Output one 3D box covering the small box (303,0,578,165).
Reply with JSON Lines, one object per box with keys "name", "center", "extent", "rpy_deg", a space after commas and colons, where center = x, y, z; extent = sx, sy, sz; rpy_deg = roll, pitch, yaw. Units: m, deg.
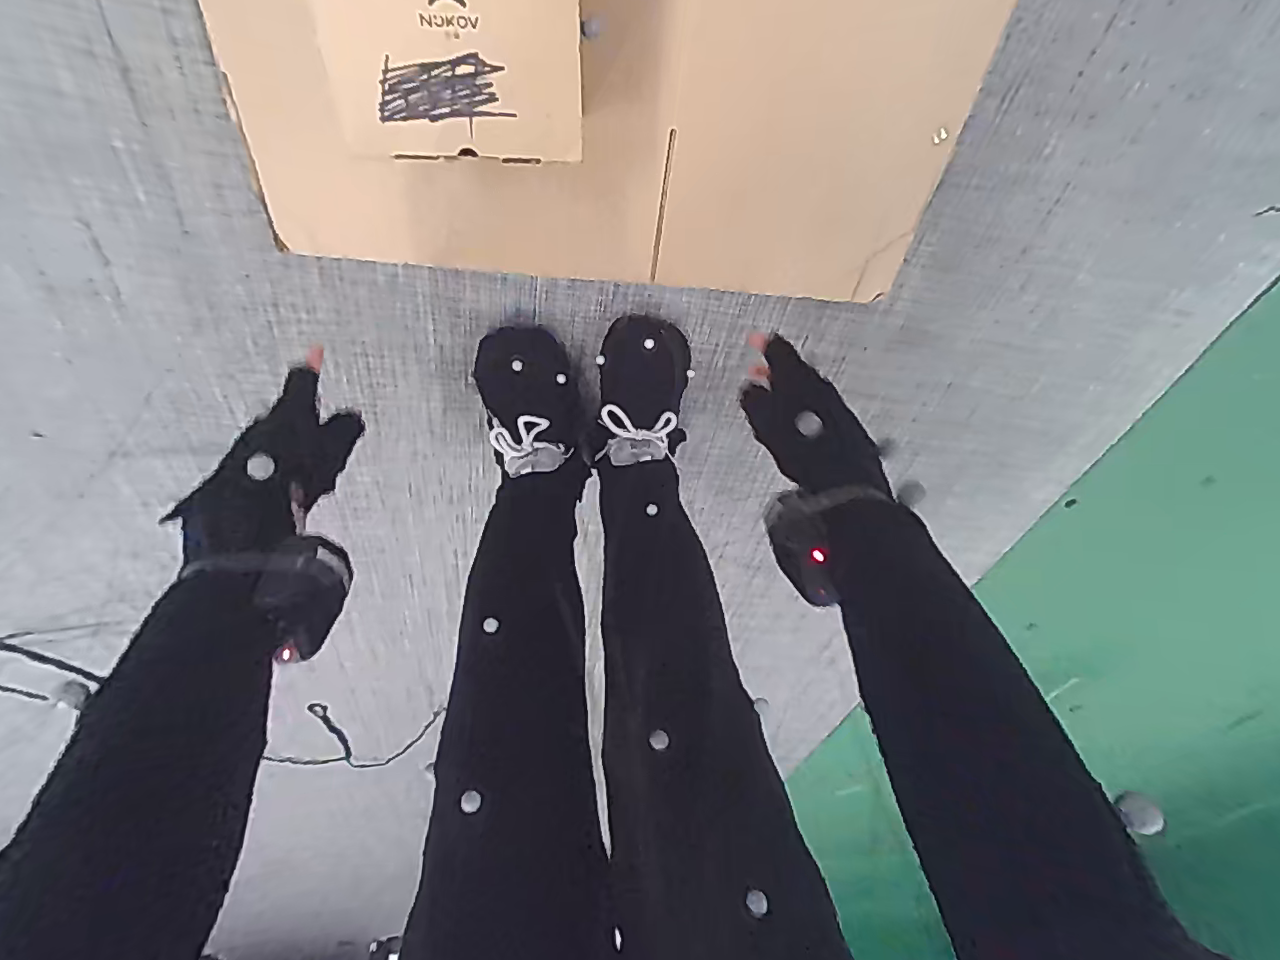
{"name": "small box", "center": [-0.129, -0.350, 0.391], "extent": [0.168, 0.176, 0.179], "rpy_deg": [-2, 133, -6]}
